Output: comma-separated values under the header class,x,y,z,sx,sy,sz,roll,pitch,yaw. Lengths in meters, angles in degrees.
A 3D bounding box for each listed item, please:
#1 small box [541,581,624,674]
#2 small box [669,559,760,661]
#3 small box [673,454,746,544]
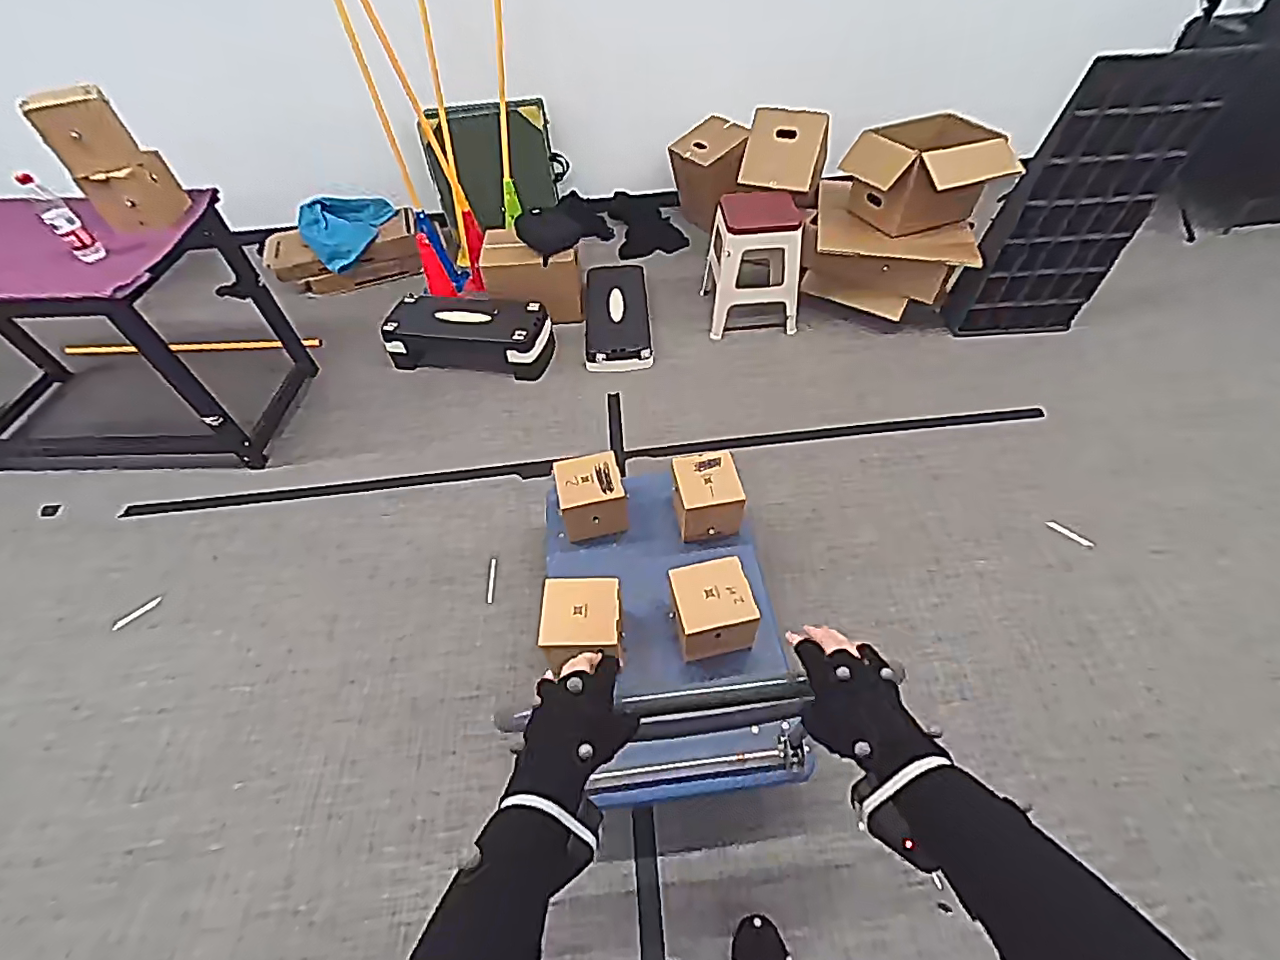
class,x,y,z,sx,sy,sz,roll,pitch,yaw
small box,-0.130,0.355,1.294,0.179,0.176,0.168,-1,51,0
small box,0.173,0.319,1.306,0.179,0.176,0.168,-11,52,-5
small box,0.187,0.055,1.517,0.168,0.176,0.179,-9,52,-4
